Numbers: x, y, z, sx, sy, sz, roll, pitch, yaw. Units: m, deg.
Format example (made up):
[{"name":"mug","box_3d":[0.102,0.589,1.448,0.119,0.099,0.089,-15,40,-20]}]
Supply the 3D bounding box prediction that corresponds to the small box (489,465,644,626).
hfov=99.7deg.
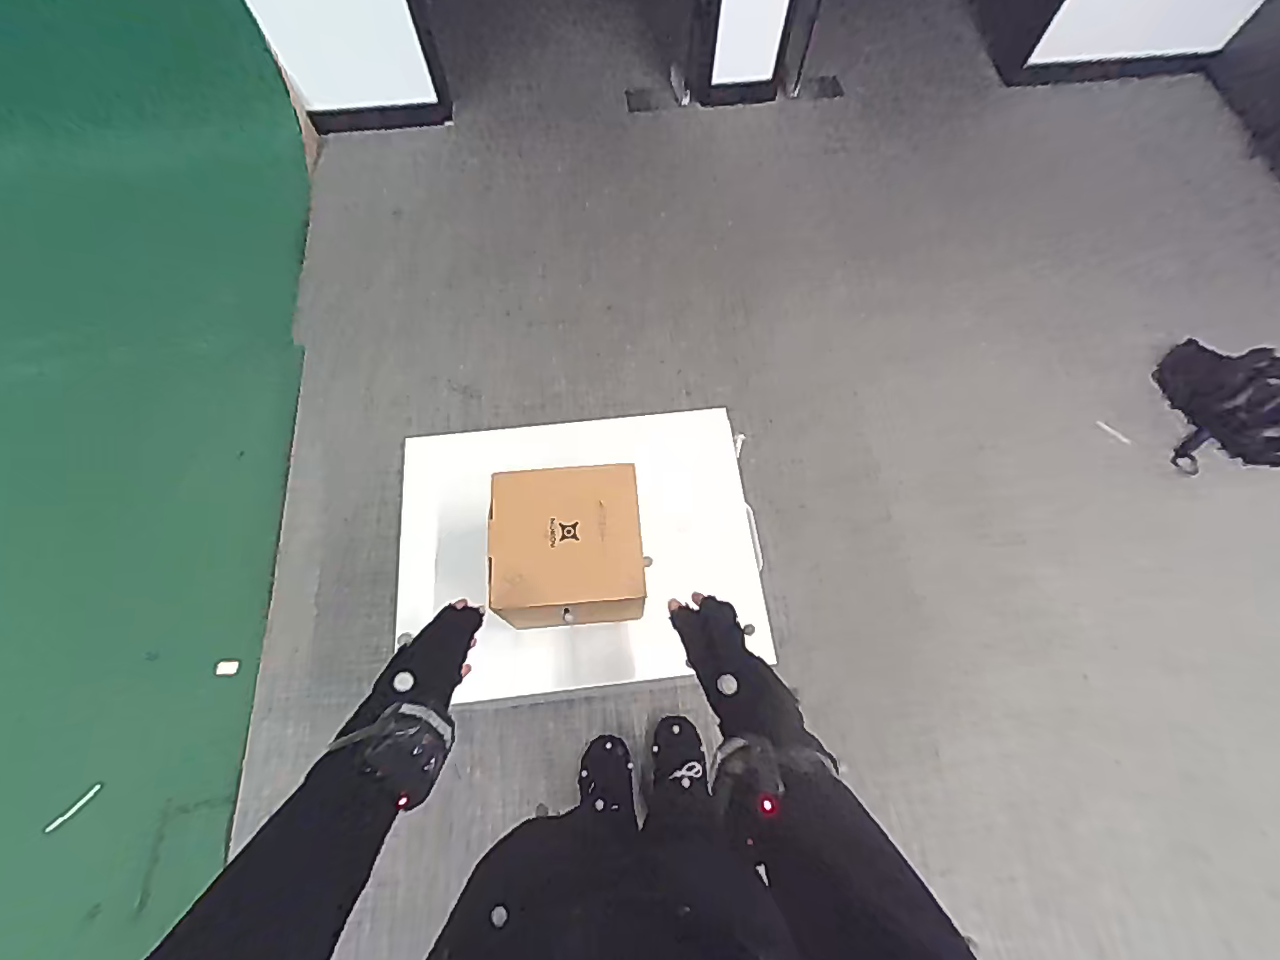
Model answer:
[{"name":"small box","box_3d":[-0.089,0.092,0.705,0.179,0.176,0.168,-4,68,-3]}]
